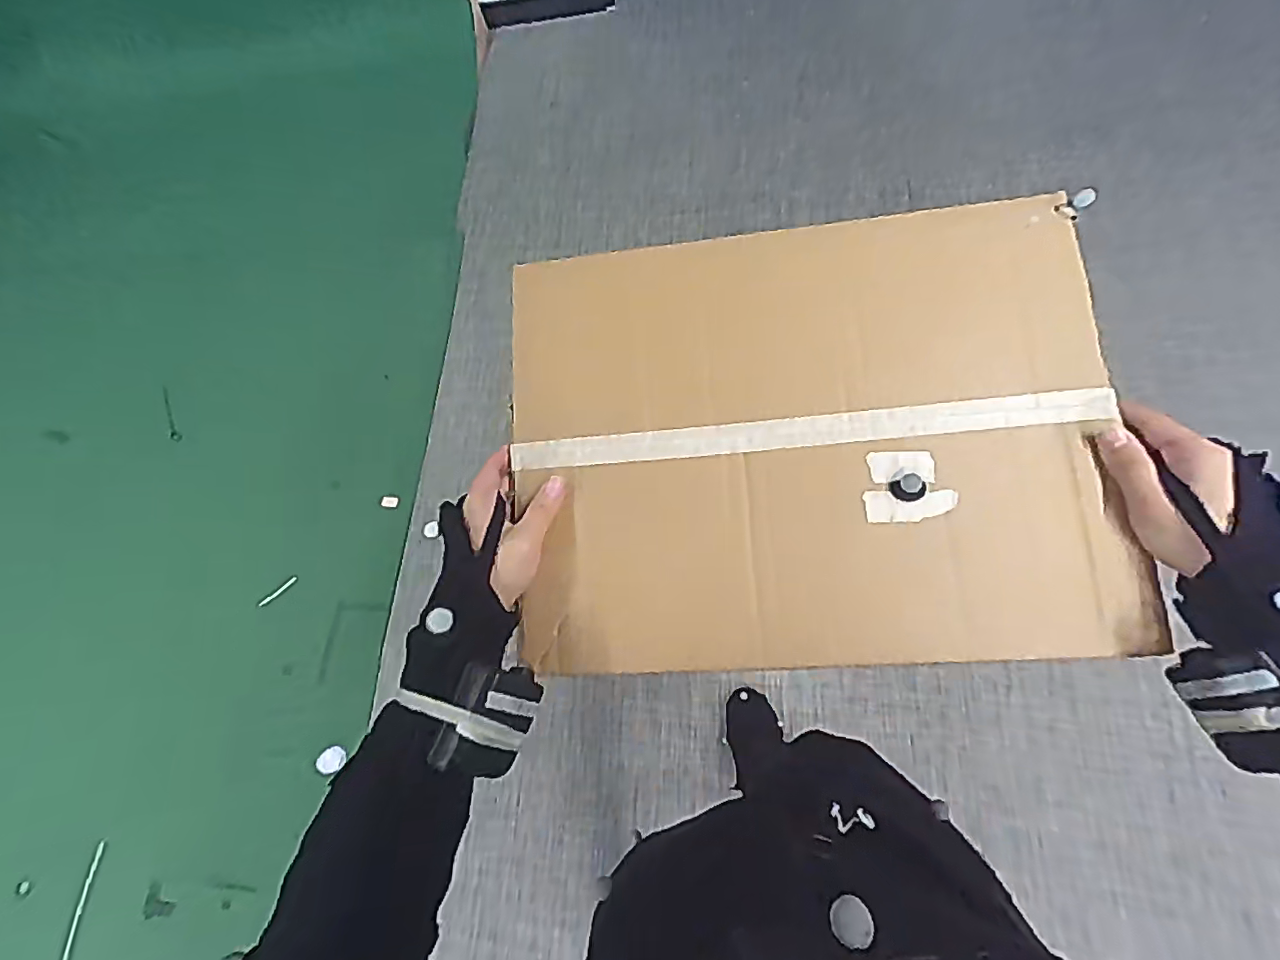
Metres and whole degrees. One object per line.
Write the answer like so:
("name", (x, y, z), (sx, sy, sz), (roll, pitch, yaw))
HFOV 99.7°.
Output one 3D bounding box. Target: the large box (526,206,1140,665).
("large box", (0.129, -0.009, 0.536), (0.408, 0.320, 0.320), (-5, 80, 6))
